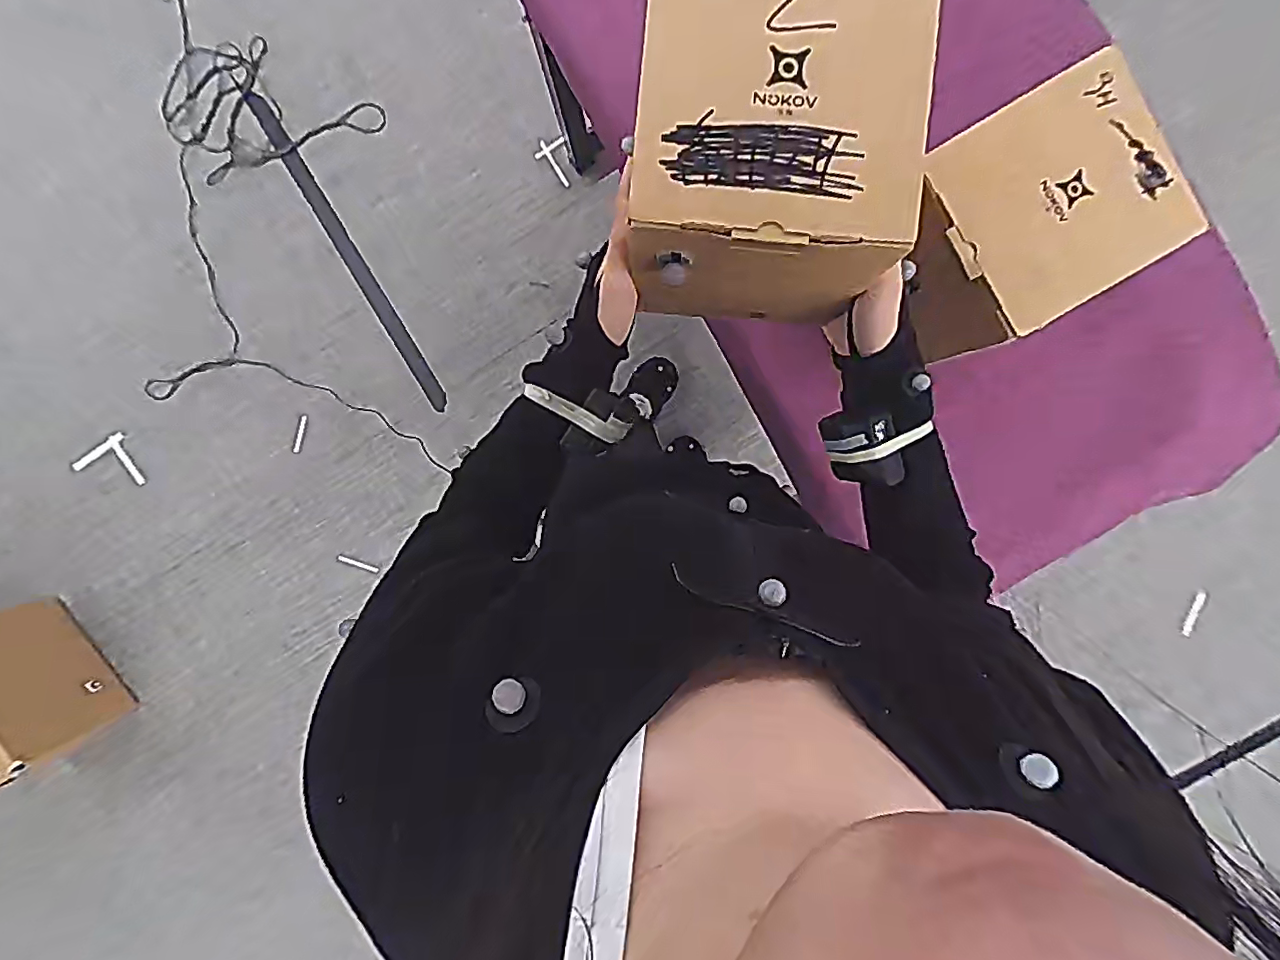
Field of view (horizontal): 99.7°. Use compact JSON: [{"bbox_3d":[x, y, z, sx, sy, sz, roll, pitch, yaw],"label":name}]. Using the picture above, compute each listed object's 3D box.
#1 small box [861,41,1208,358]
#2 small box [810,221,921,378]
[{"bbox_3d":[0.333,-0.232,0.504,0.179,0.176,0.168,-30,93,3],"label":"small box"},{"bbox_3d":[0.331,-0.242,0.667,0.179,0.176,0.168,-31,93,2],"label":"small box"}]
